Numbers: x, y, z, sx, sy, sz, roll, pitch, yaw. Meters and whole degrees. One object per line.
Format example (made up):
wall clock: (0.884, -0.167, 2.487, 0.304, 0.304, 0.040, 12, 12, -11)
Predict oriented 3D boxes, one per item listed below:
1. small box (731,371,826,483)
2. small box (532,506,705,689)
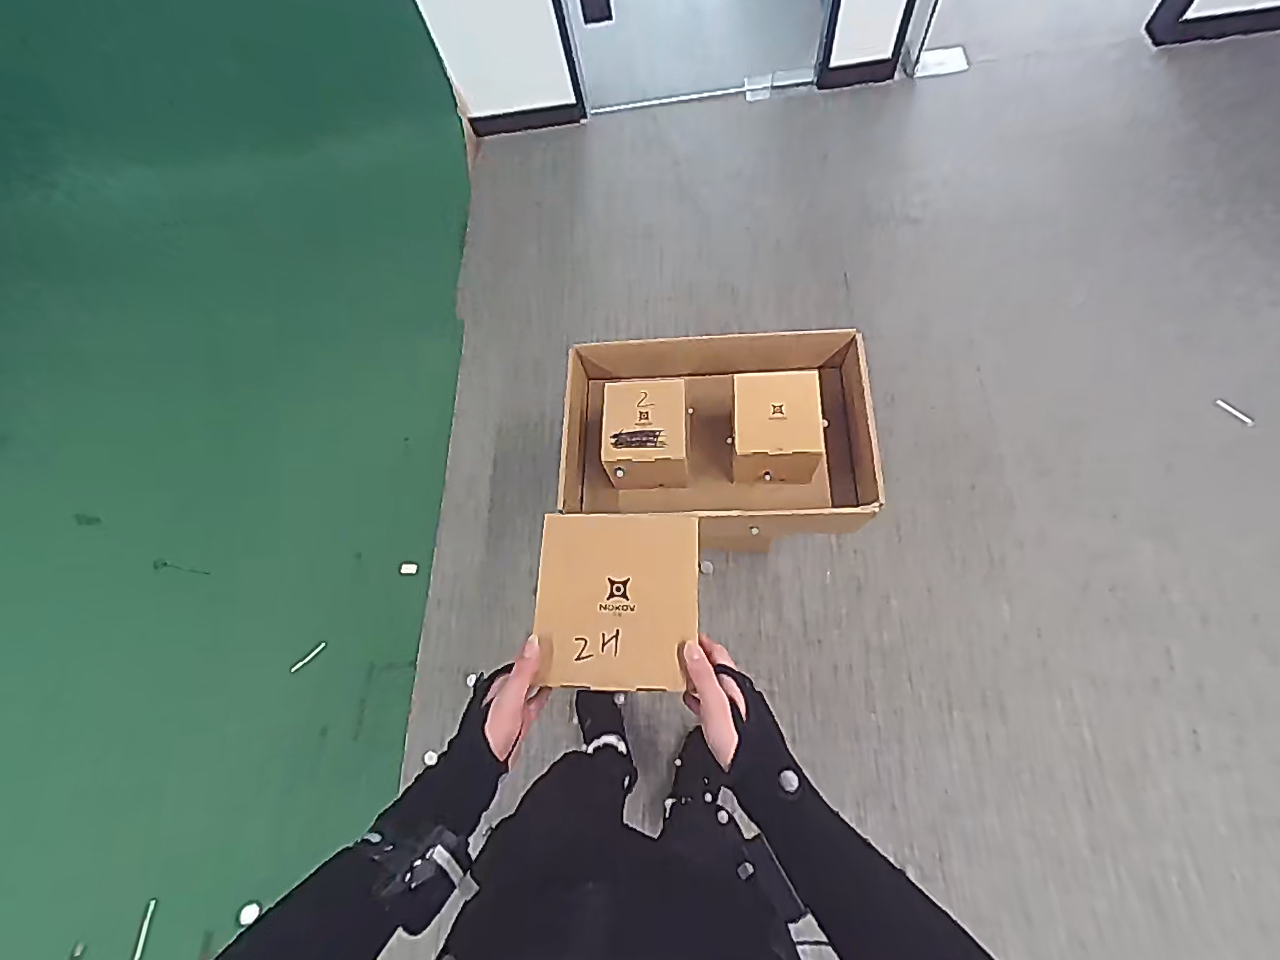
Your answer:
small box: (0.274, -0.105, 1.109, 0.168, 0.176, 0.179, 0, 70, 6)
small box: (-0.016, 0.140, 0.615, 0.168, 0.176, 0.179, 2, 70, 3)
